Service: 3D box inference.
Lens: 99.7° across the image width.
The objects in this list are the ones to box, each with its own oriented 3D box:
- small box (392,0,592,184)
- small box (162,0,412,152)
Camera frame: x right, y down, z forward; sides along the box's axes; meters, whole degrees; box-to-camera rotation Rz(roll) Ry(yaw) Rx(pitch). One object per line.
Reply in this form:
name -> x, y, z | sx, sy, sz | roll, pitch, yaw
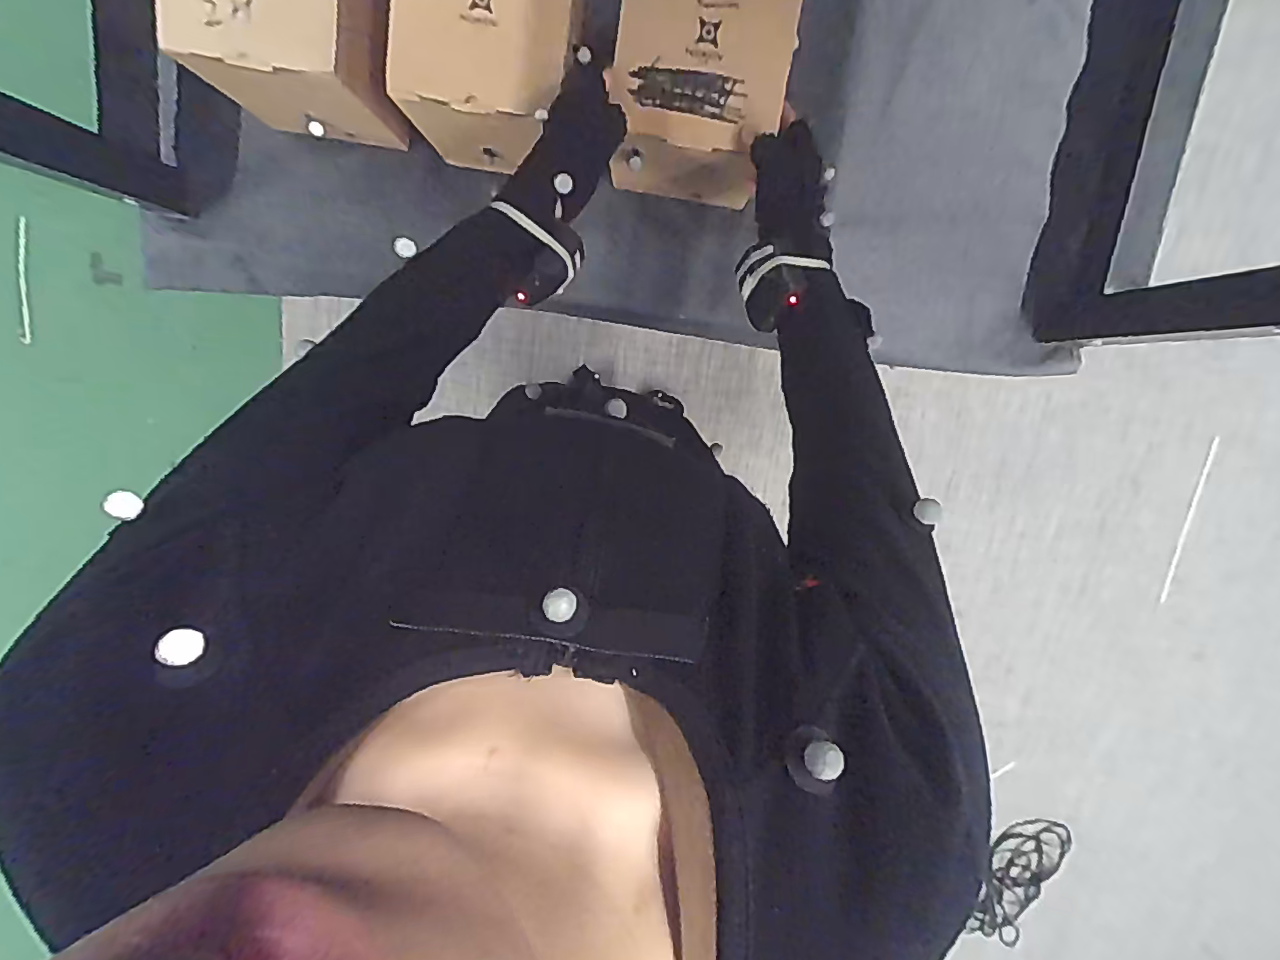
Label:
small box -> -0.144, -0.450, 0.579 | 0.168, 0.176, 0.179 | 8, 101, -2
small box -> -0.349, -0.483, 0.569 | 0.168, 0.176, 0.179 | 8, 100, -2
